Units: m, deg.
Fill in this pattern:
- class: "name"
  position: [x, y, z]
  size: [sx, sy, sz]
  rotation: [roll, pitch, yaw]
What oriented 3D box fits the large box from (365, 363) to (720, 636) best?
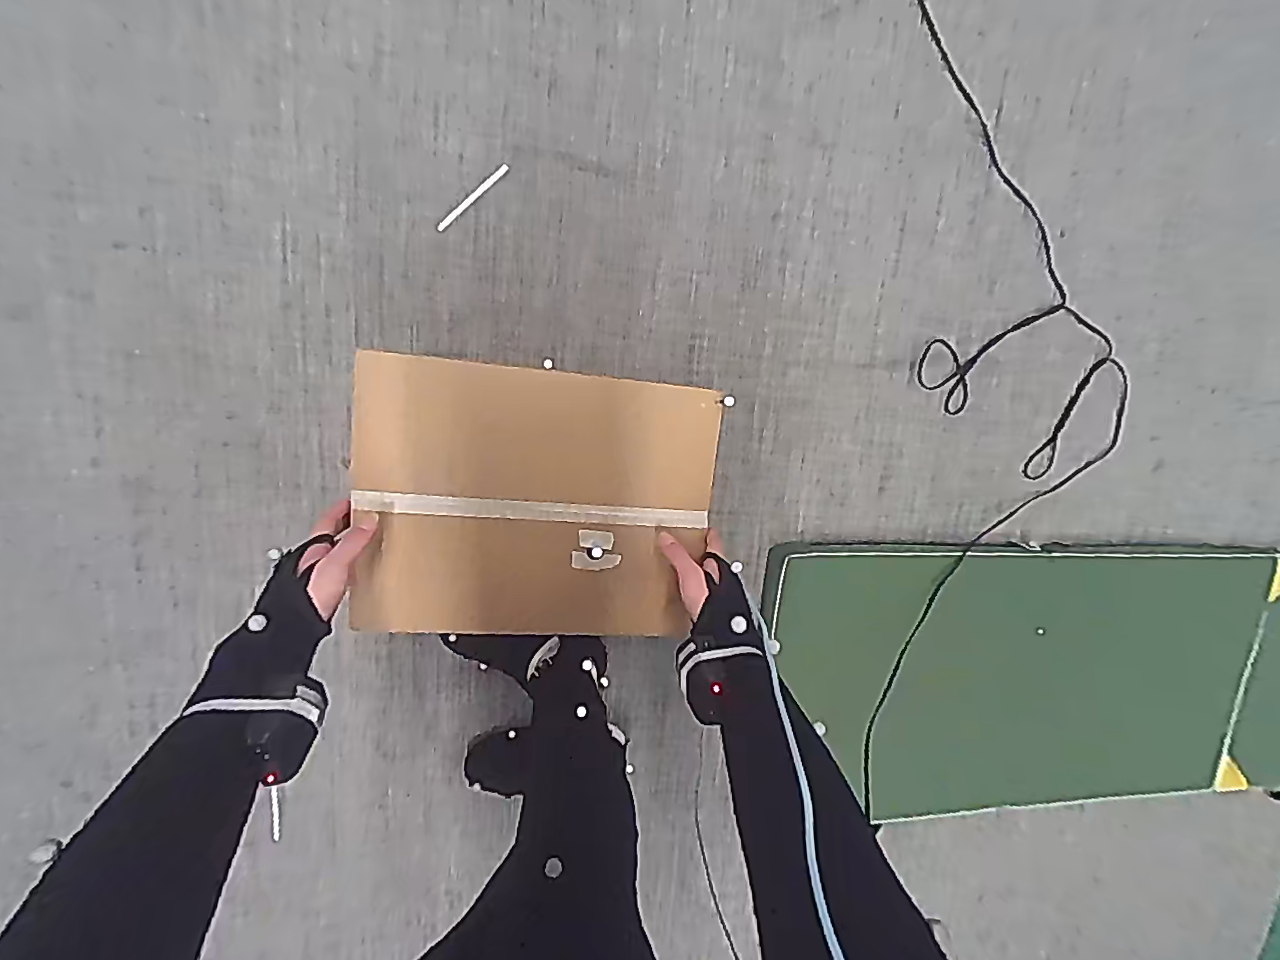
- class: "large box"
  position: [-0.140, 0.014, 0.780]
  size: [0.408, 0.320, 0.320]
  rotation: [4, 99, -13]
